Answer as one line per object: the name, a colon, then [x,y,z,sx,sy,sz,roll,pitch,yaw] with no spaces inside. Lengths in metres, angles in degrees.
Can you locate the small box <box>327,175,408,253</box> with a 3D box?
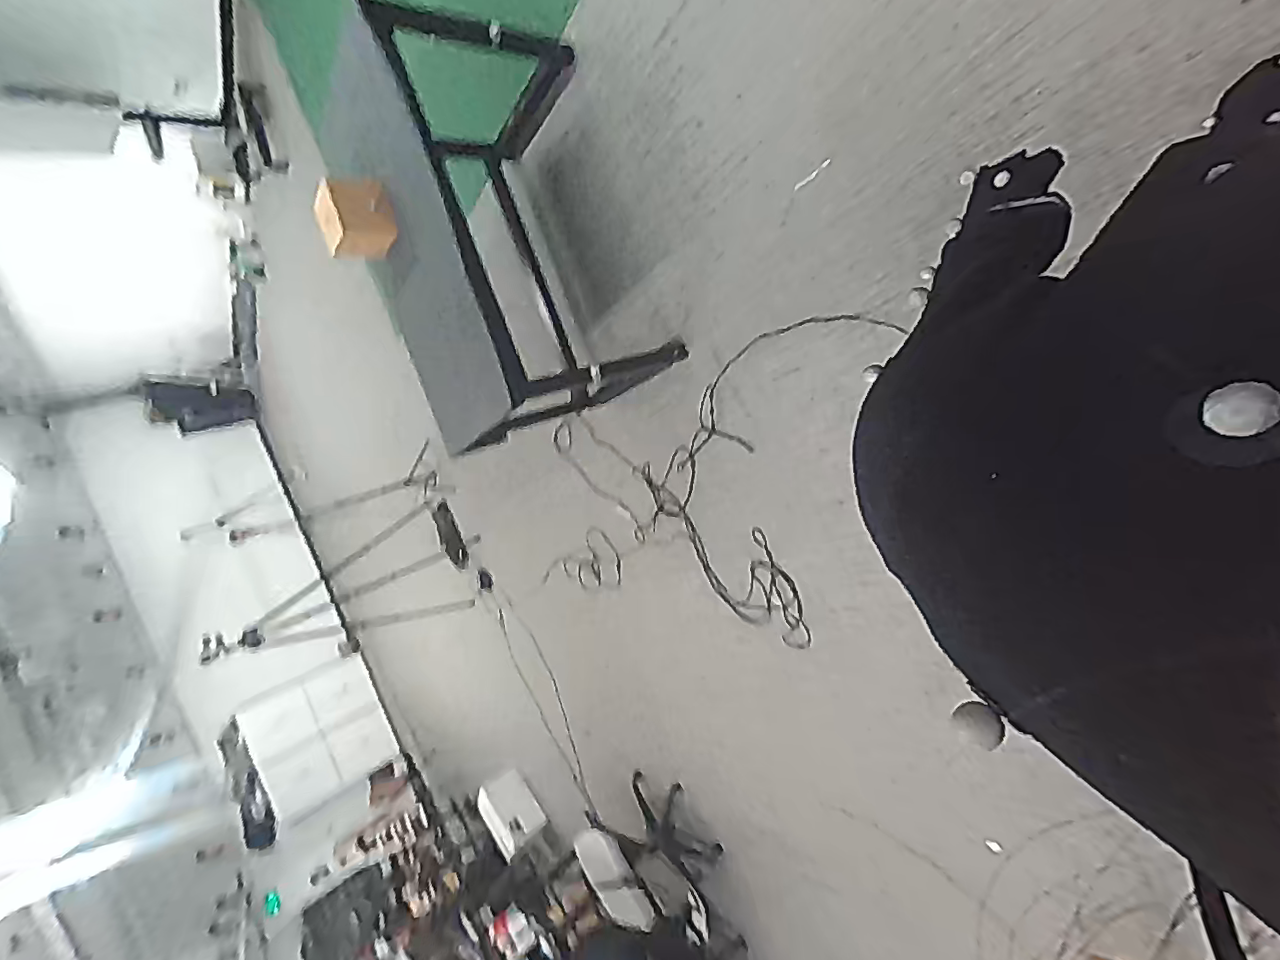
small box: [-0.858,-0.835,1.709,0.179,0.176,0.168,-8,102,50]
